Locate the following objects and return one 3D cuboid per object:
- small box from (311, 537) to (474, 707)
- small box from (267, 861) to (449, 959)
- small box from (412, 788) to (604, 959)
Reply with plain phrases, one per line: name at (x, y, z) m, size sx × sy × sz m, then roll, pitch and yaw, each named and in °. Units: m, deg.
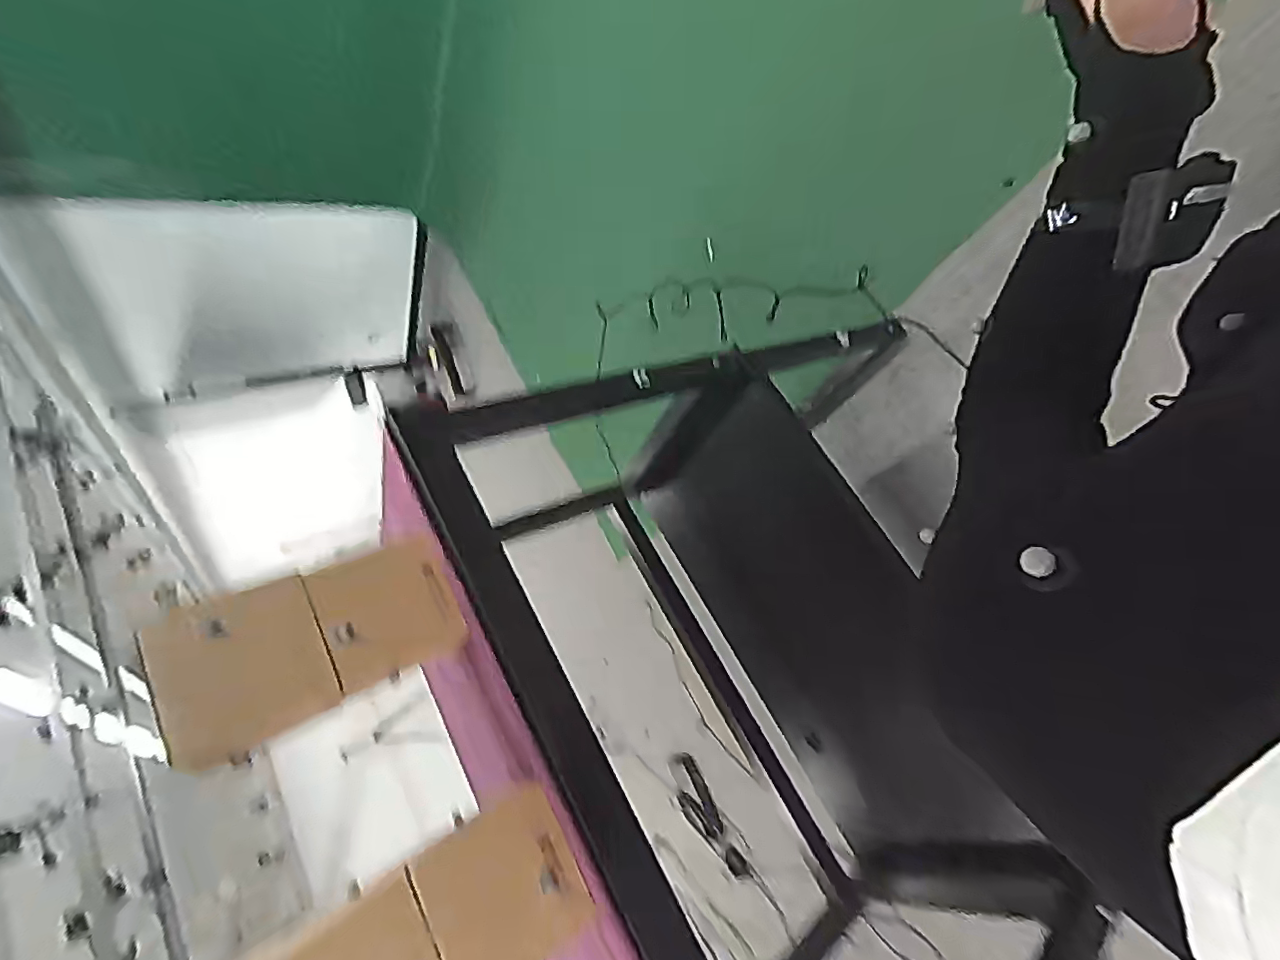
small box at (-0.361, 0.208, 0.797) m, size 0.168 × 0.176 × 0.179 m, roll 60°, pitch 144°, yaw 14°
small box at (-0.294, 0.561, 0.585) m, size 0.179 × 0.176 × 0.168 m, roll 59°, pitch 144°, yaw 15°
small box at (-0.169, 0.515, 0.681) m, size 0.168 × 0.176 × 0.179 m, roll 60°, pitch 144°, yaw 15°
